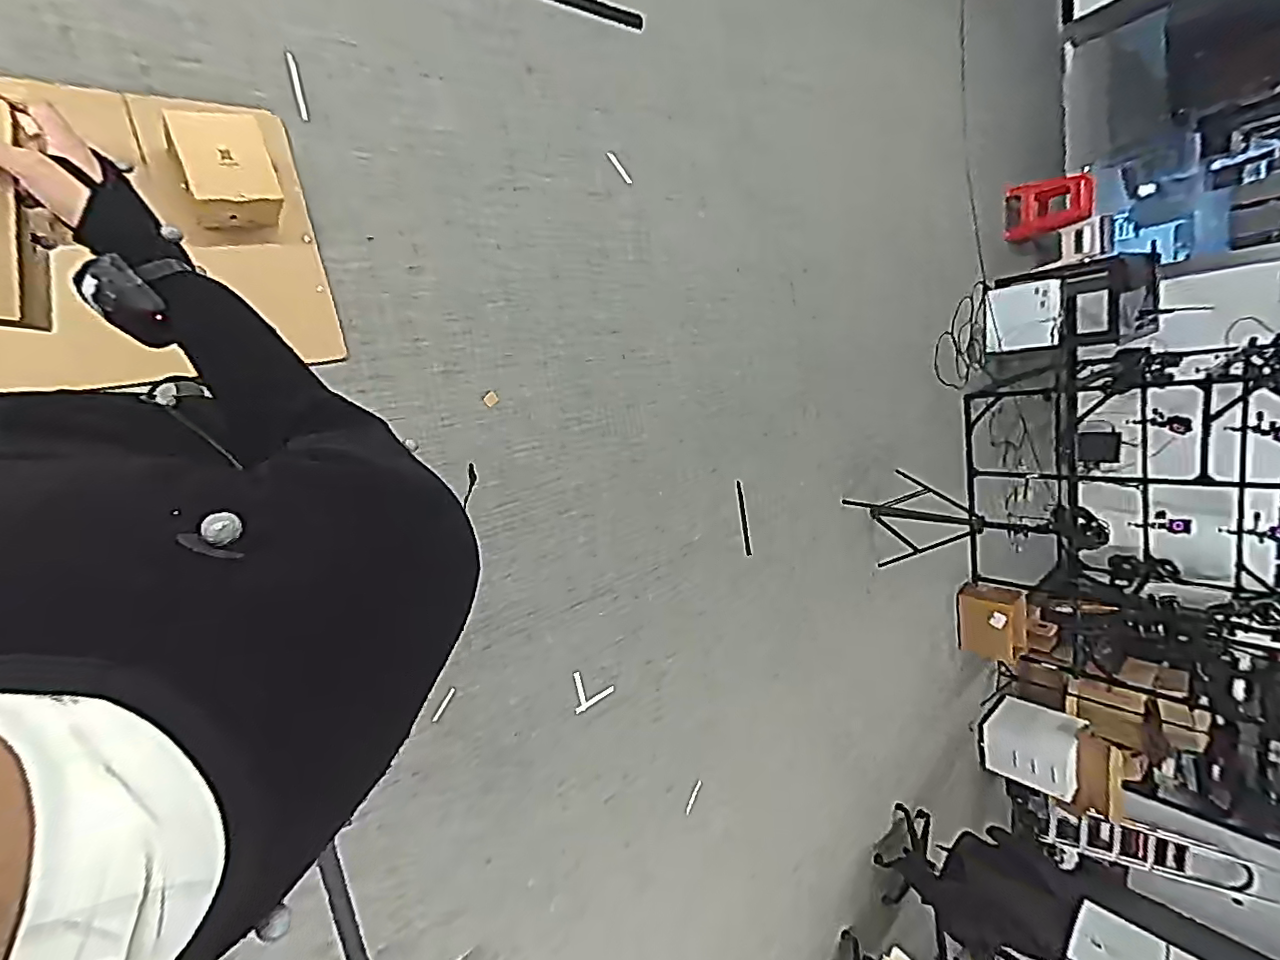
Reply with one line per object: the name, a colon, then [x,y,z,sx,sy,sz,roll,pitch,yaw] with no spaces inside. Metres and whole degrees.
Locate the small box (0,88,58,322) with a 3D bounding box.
small box: [-0.623,-0.239,0.455,0.168,0.176,0.179,-1,101,-41]

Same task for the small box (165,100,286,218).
small box: [-0.925,-0.709,1.211,0.168,0.176,0.179,-23,107,-34]

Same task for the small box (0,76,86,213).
small box: [-1.188,-0.621,1.007,0.168,0.176,0.179,-19,105,-35]
